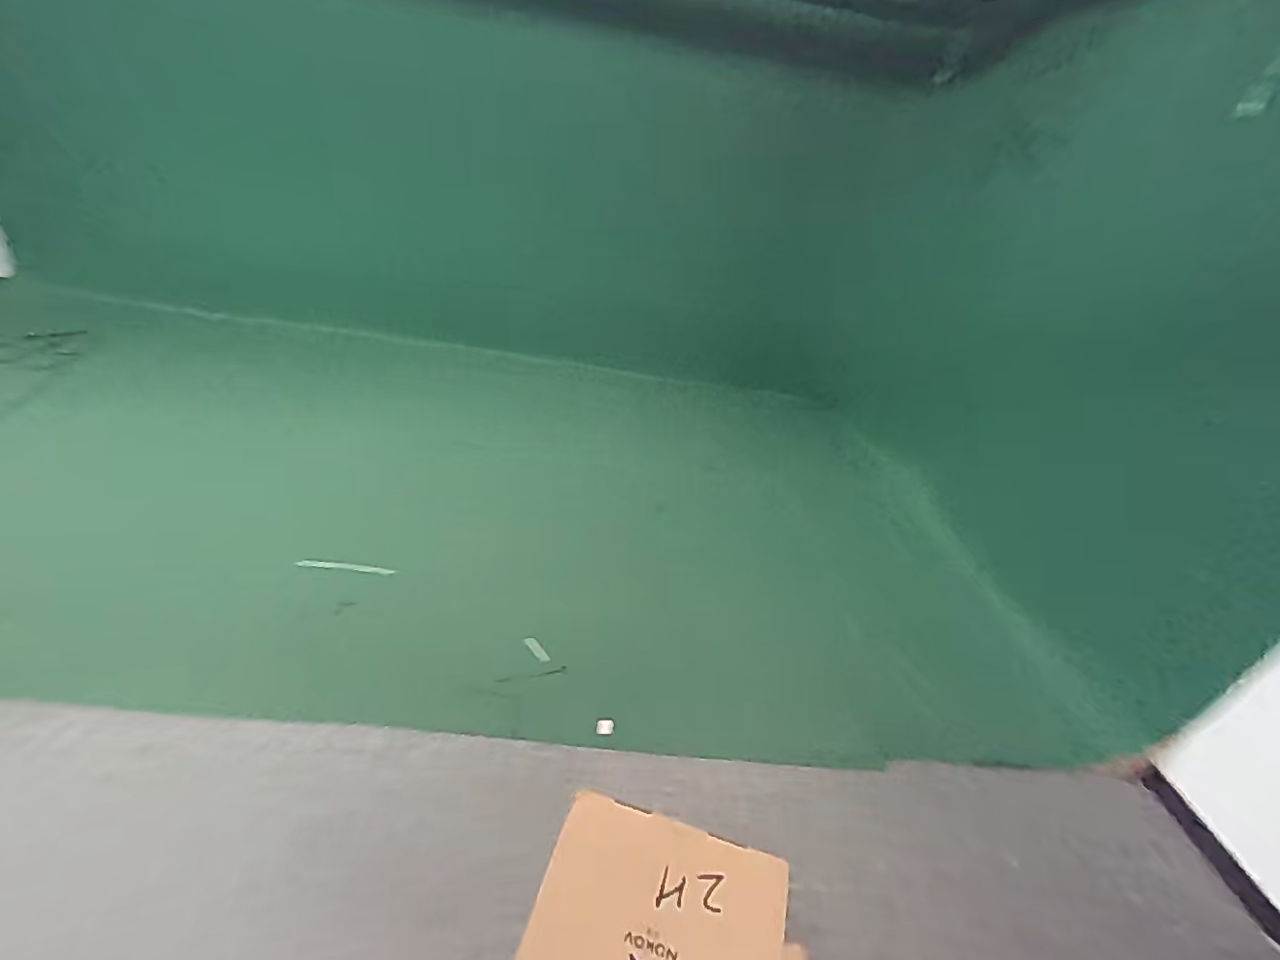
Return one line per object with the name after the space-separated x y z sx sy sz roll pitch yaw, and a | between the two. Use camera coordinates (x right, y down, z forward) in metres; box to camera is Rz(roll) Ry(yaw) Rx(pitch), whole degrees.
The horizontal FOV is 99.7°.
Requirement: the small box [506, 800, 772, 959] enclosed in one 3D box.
-0.009 0.383 0.400 0.168 0.176 0.179 13 40 11 | small box
